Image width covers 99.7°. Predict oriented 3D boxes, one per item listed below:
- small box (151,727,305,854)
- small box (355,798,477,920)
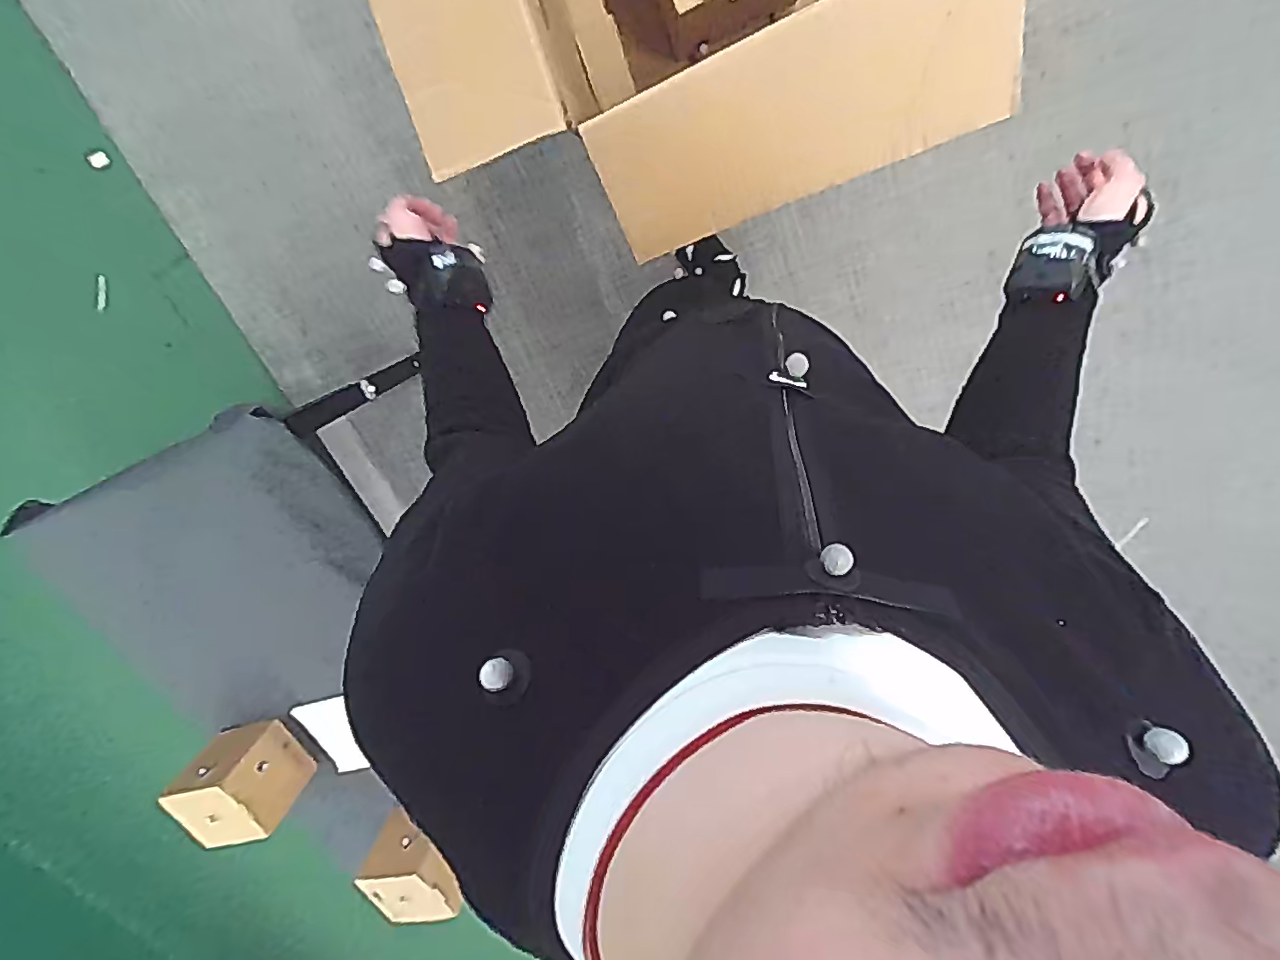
[{"bbox_3d":[-0.869,0.662,1.166,0.179,0.176,0.168,-17,112,14],"label":"small box"},{"bbox_3d":[-0.497,0.863,1.240,0.179,0.176,0.168,-18,112,14],"label":"small box"}]
